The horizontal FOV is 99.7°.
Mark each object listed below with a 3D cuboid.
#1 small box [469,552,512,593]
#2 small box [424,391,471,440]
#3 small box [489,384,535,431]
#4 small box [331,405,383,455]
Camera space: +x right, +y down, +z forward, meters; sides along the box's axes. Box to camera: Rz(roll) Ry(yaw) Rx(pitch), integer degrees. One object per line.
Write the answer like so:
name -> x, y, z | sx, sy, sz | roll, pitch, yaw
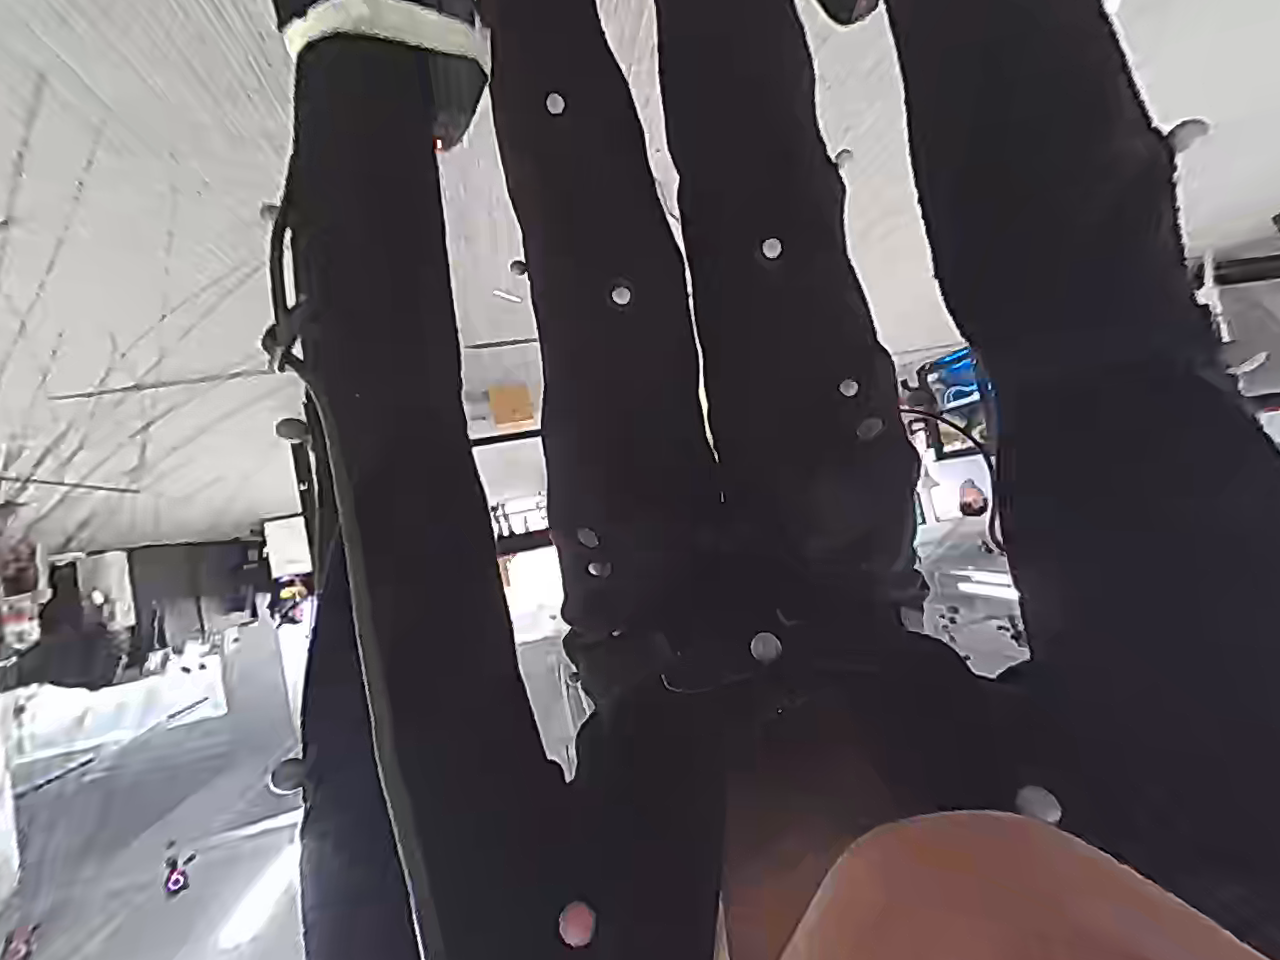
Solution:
small box -> -0.737, 0.451, 2.654 | 0.168, 0.176, 0.179 | -10, 176, -24
small box -> -0.849, -0.285, 2.382 | 0.179, 0.176, 0.168 | -10, 177, -17
small box -> -0.585, -0.334, 2.469 | 0.179, 0.176, 0.168 | -10, 176, -14
small box -> -1.219, -0.215, 2.323 | 0.179, 0.176, 0.168 | -11, 177, -30
